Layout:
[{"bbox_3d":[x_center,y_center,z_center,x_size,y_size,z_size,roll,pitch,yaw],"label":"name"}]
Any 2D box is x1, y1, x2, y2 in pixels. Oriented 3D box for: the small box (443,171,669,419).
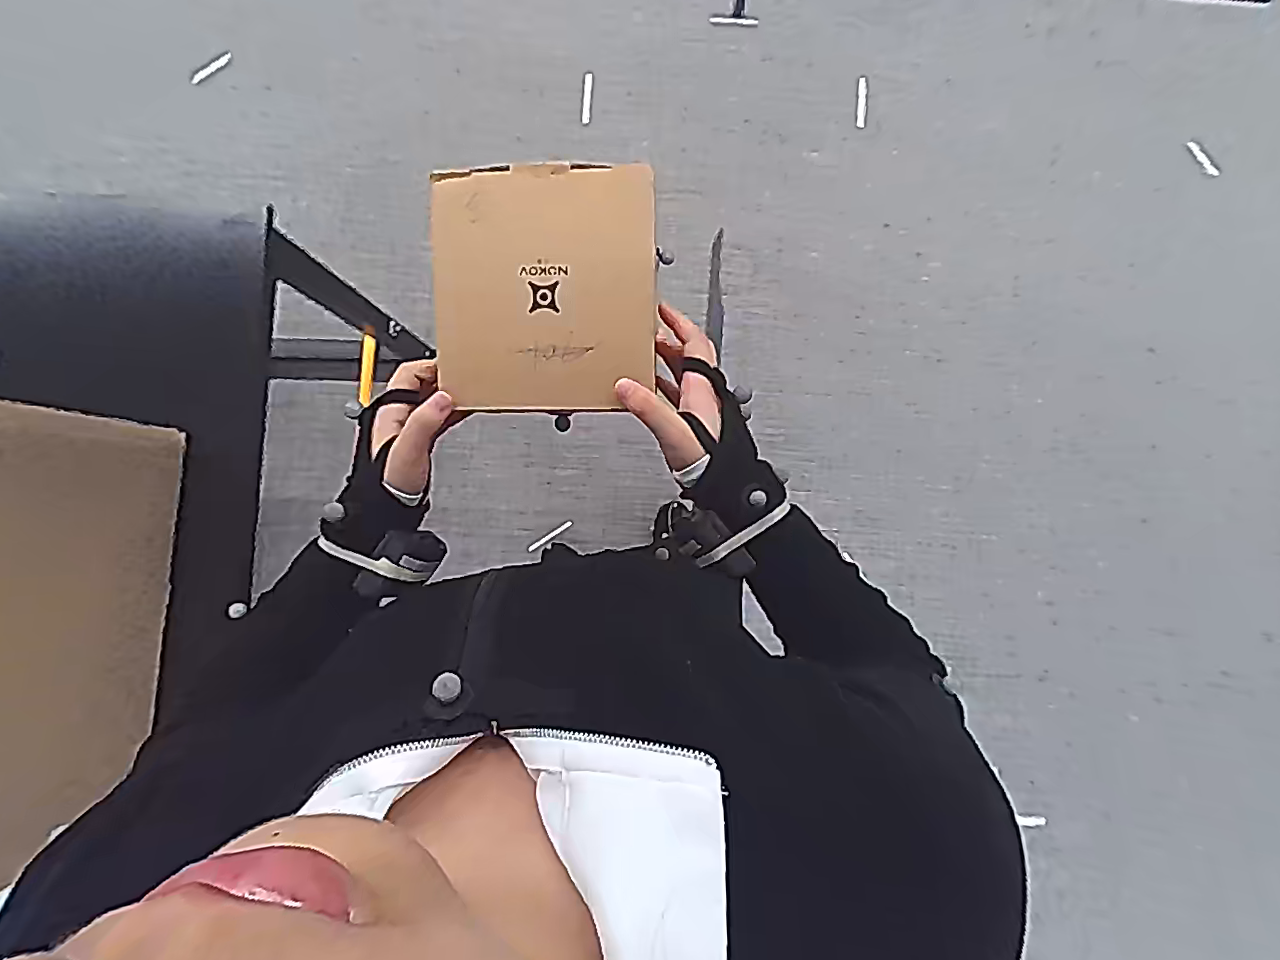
[{"bbox_3d":[-0.060,-0.144,0.476,0.168,0.176,0.179,1,97,3],"label":"small box"}]
